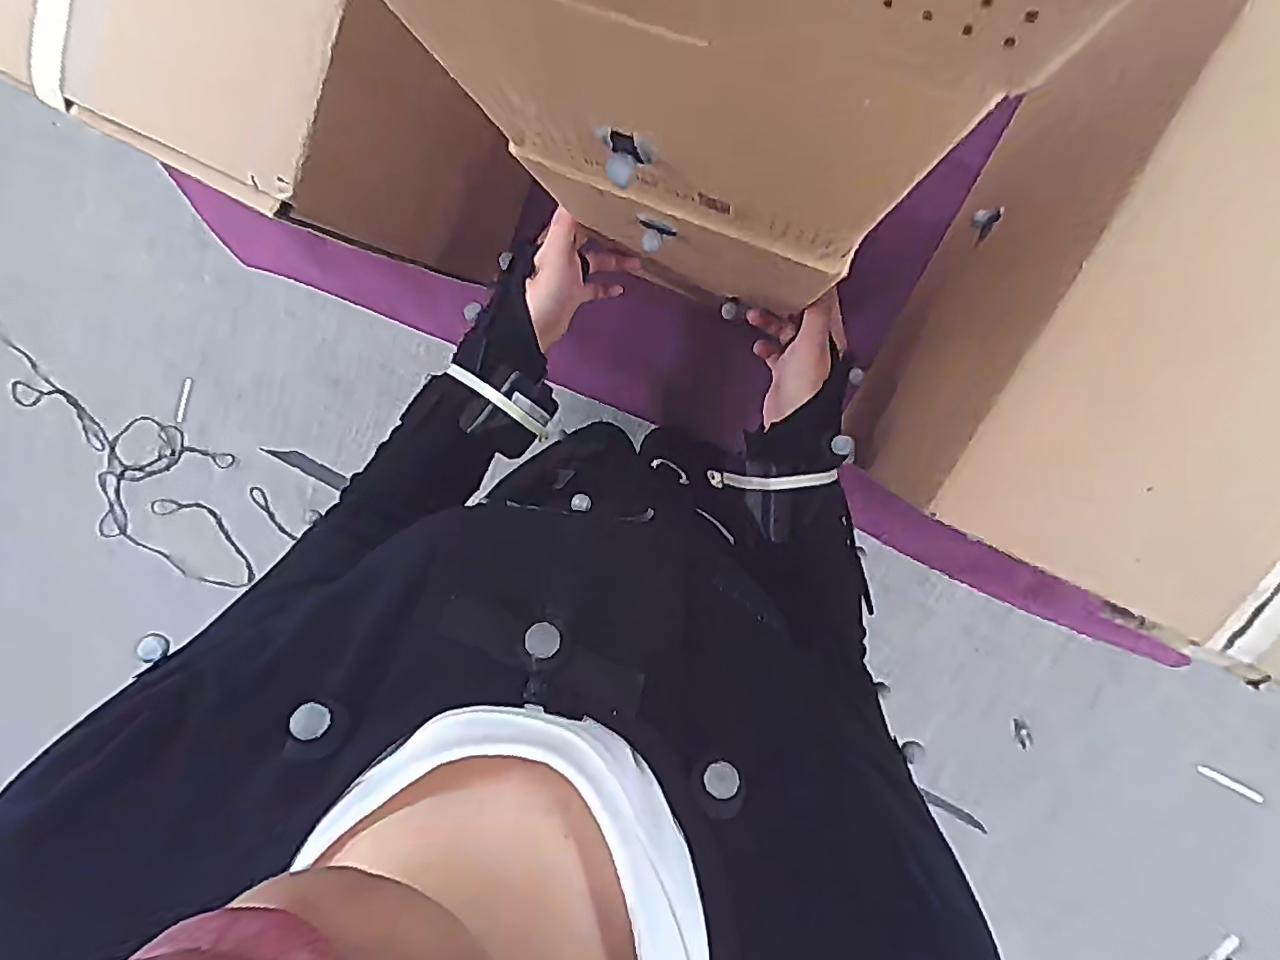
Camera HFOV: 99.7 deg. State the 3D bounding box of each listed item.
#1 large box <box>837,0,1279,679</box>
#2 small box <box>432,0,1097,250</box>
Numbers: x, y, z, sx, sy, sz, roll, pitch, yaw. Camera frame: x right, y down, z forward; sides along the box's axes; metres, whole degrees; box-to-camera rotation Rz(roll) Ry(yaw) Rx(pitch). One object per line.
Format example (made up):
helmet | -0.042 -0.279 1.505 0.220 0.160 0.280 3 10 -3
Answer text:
large box | 0.392 -0.114 0.374 0.320 0.320 0.408 26 102 3
small box | 0.035 -0.191 0.150 0.168 0.176 0.179 22 104 4
